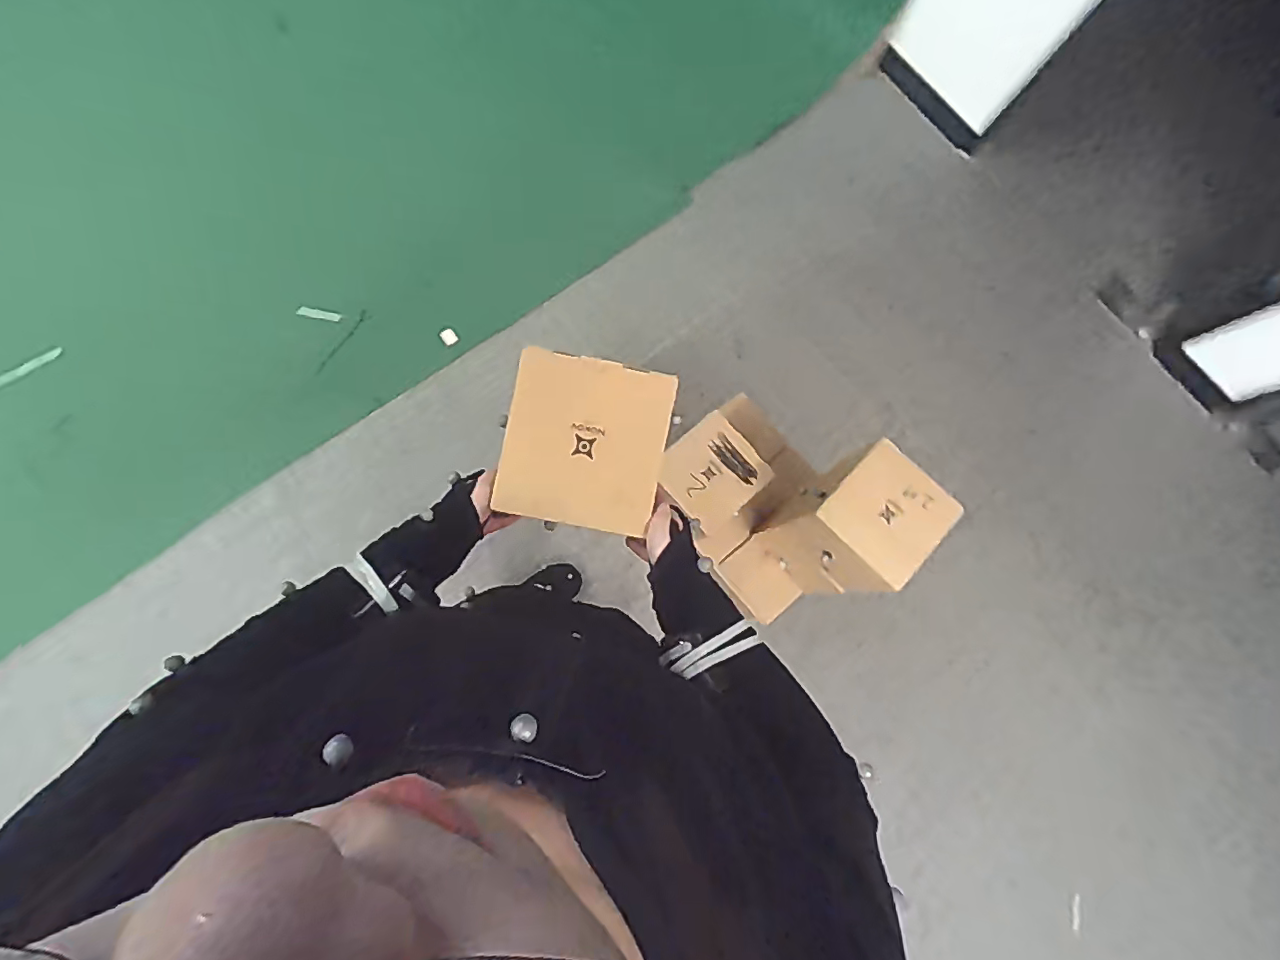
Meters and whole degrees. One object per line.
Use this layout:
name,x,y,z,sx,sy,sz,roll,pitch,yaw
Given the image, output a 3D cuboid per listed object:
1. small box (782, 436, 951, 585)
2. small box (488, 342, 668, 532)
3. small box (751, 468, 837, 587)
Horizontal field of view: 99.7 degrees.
small box,0.362,0.059,0.906,0.179,0.176,0.168,-43,86,-12
small box,-0.071,-0.044,0.649,0.168,0.176,0.179,11,89,-5
small box,0.348,0.091,1.067,0.179,0.176,0.168,-41,85,-10
